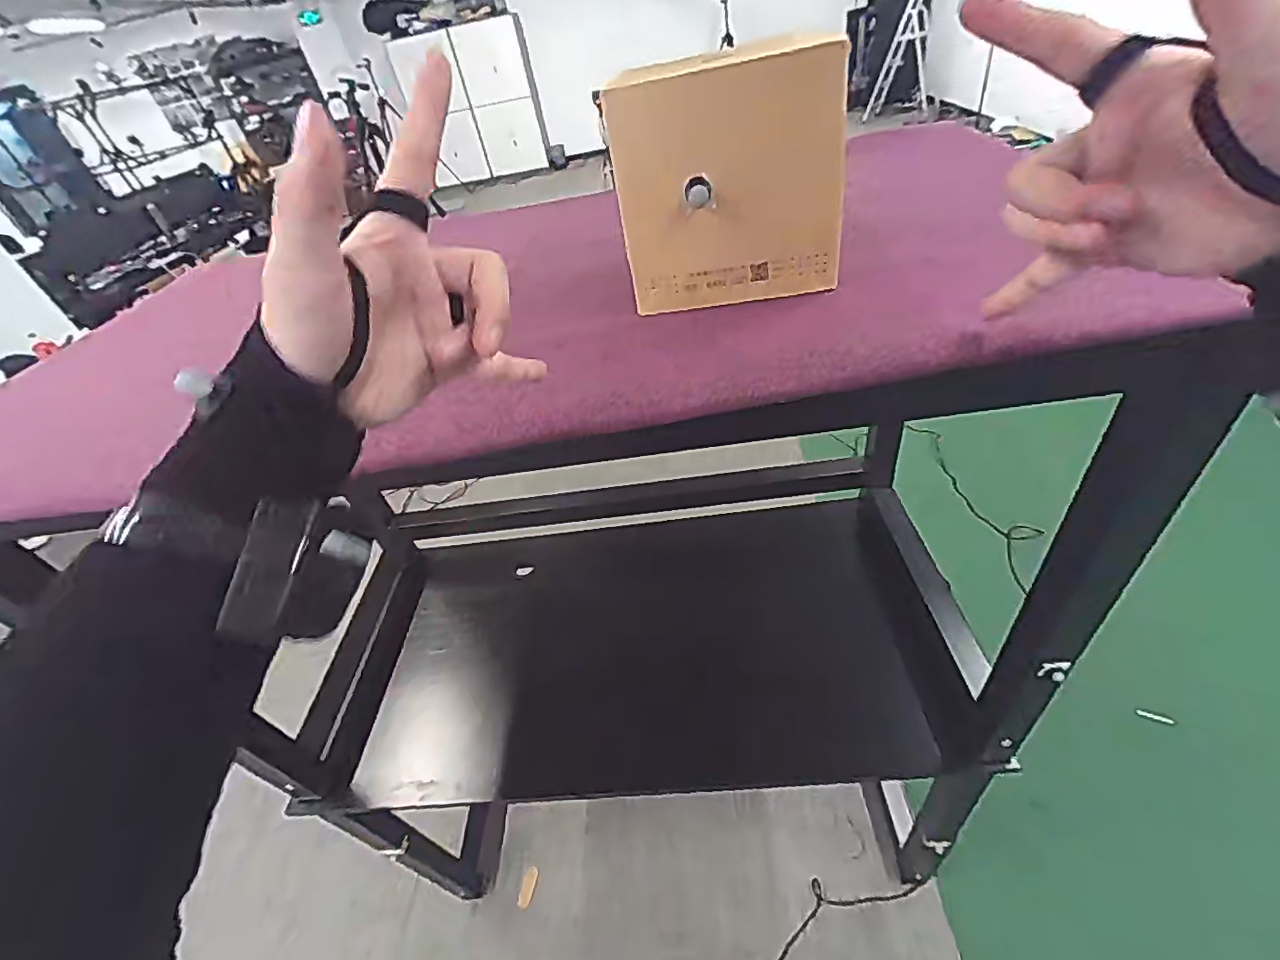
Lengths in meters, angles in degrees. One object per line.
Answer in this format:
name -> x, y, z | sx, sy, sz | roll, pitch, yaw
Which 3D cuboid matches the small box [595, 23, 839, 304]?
small box -> 0.070, -0.263, 0.466 | 0.168, 0.176, 0.179 | -5, 39, 10
